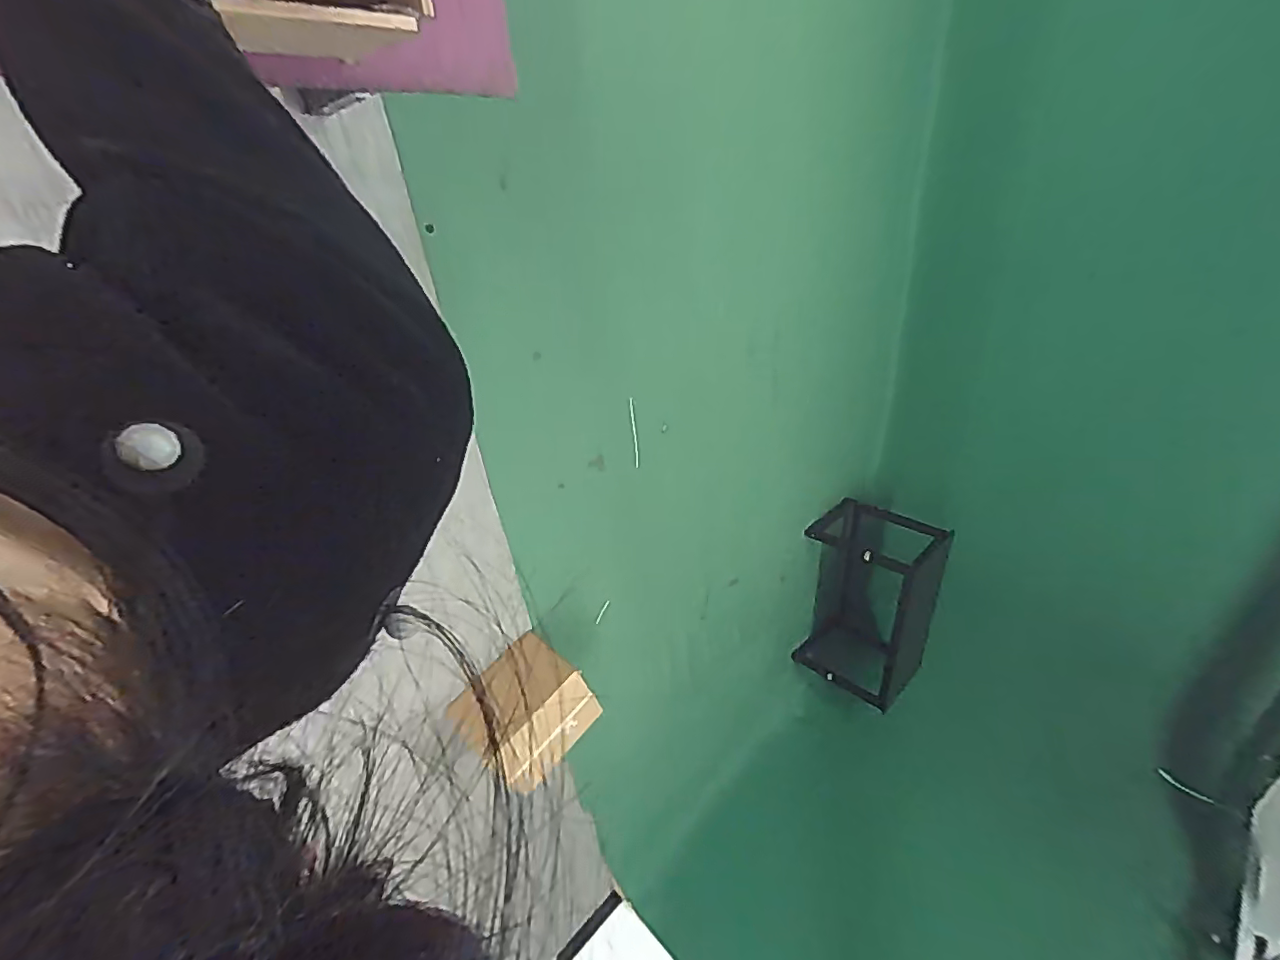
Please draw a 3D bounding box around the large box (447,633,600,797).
[{"bbox_3d":[-0.430,0.869,2.033,0.408,0.320,0.320,-43,134,-26],"label":"large box"}]
